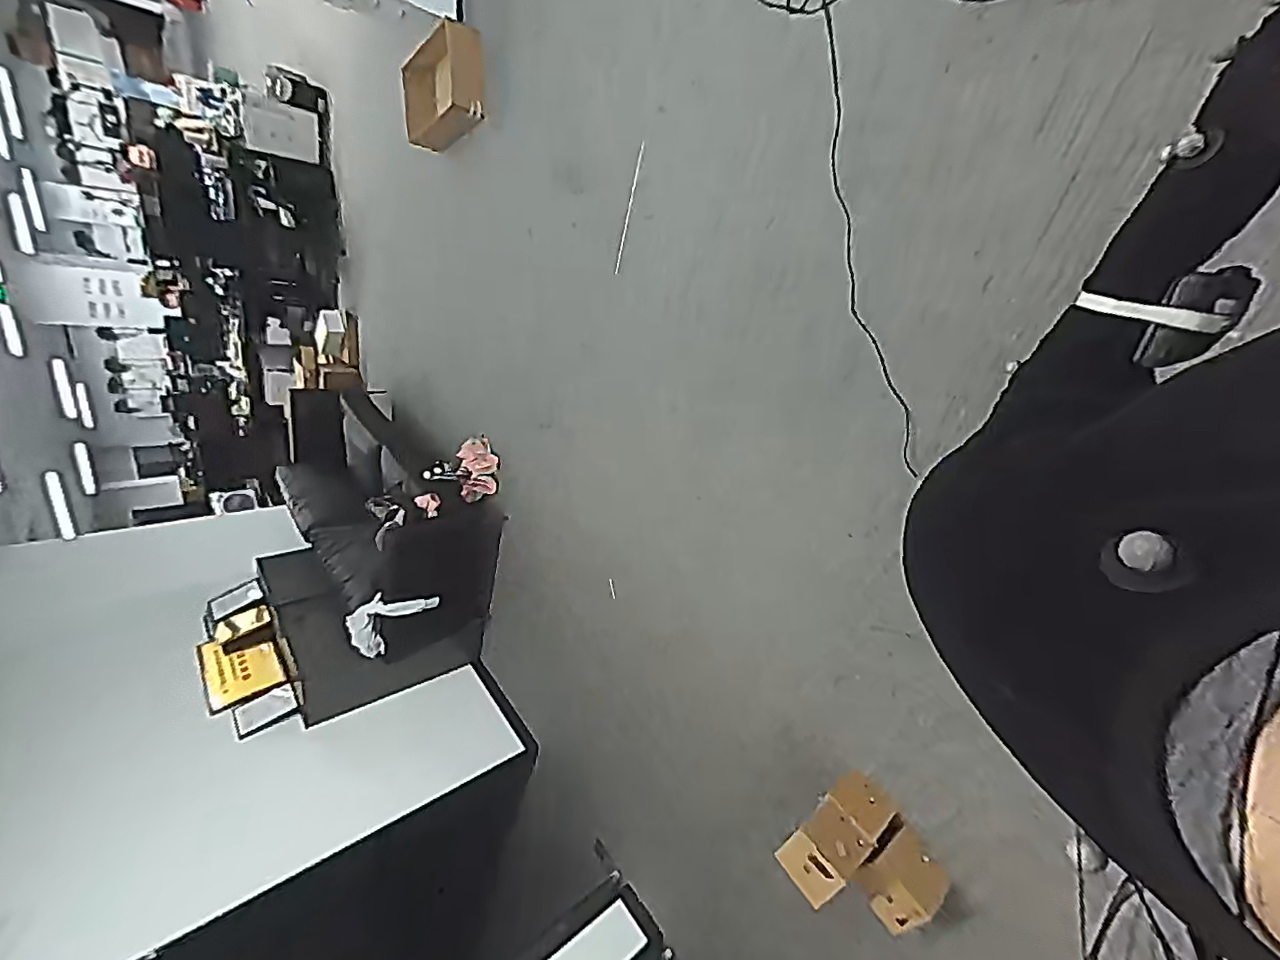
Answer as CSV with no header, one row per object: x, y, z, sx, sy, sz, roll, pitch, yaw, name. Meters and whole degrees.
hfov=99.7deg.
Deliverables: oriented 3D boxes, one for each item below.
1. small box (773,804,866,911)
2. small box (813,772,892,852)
0.531,1.097,1.586,0.168,0.176,0.179,44,127,33,small box
0.655,1.065,1.691,0.168,0.176,0.179,39,123,37,small box
